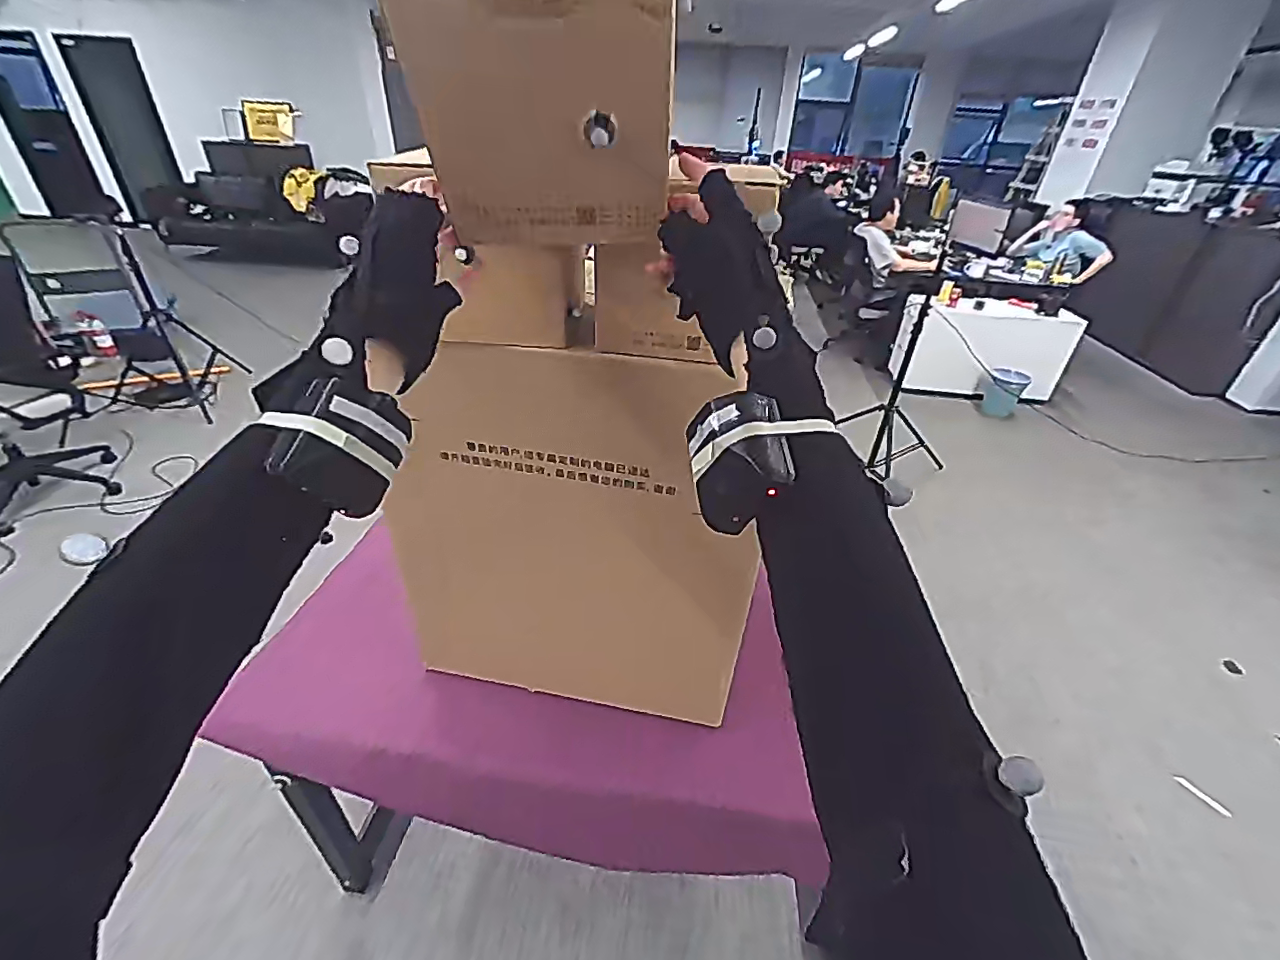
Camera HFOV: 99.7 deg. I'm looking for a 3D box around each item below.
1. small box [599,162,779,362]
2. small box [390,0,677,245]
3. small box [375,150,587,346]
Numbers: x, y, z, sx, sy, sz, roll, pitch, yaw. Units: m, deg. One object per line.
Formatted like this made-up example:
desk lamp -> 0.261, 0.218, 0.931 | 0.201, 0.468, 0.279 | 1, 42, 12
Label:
small box -> 0.052, -0.242, 0.592 | 0.168, 0.176, 0.179 | 7, 36, 5
small box -> -0.060, -0.299, 0.407 | 0.168, 0.176, 0.179 | -1, 62, -1
small box -> -0.154, -0.258, 0.600 | 0.179, 0.176, 0.168 | 3, 35, 1
